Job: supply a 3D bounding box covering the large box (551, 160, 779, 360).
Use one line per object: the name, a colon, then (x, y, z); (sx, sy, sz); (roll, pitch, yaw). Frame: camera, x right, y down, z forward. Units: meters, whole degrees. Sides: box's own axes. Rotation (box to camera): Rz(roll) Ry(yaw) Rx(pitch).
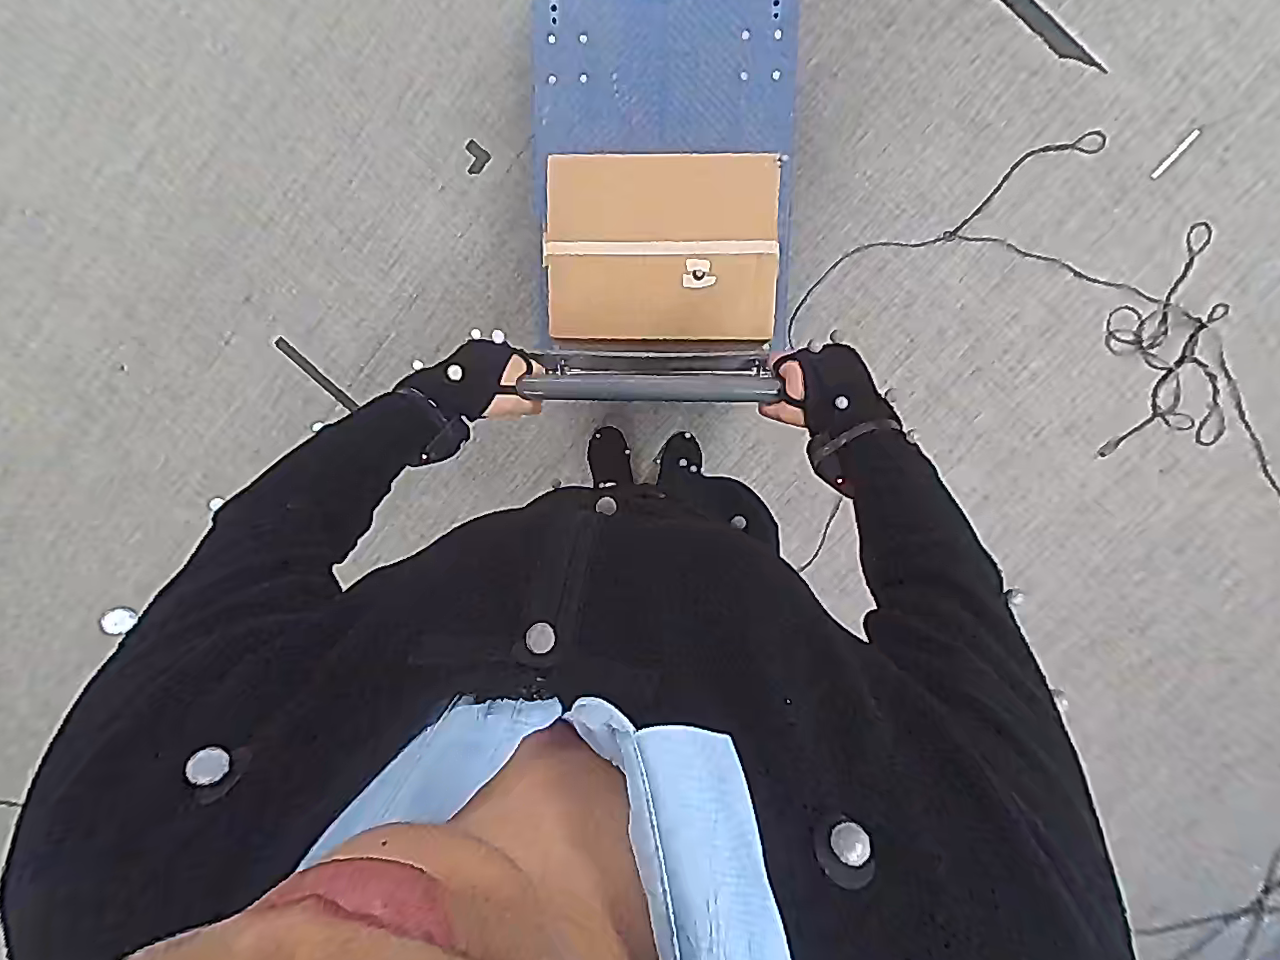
large box: (0.044, -0.420, 1.105); (0.408, 0.320, 0.320); (1, 98, 1)
